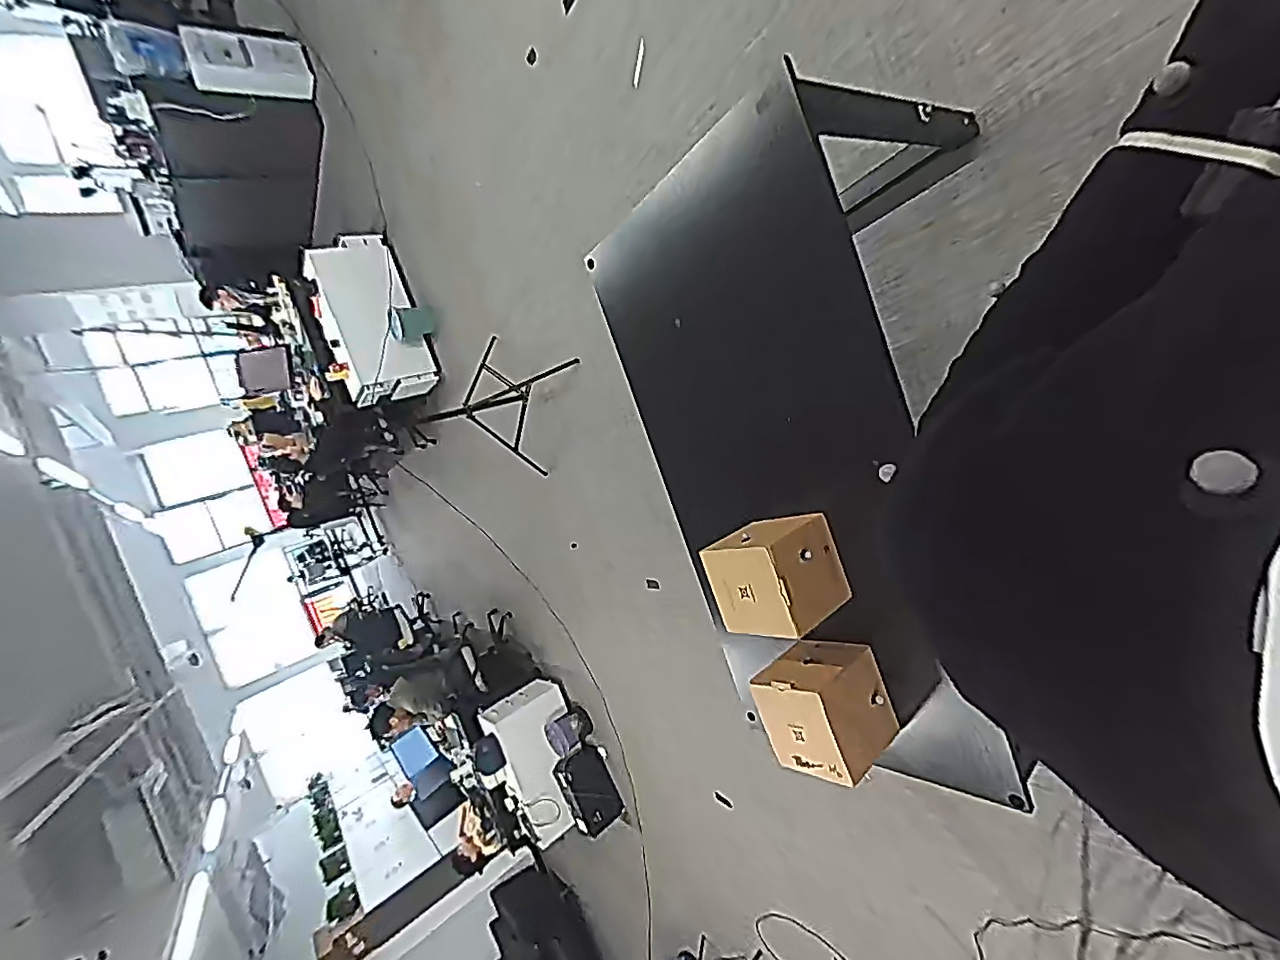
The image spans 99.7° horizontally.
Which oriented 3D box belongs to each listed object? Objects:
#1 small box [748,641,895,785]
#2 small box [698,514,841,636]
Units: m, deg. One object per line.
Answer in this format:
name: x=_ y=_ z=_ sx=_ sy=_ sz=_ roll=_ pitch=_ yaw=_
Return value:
small box: x=0.336 y=0.415 z=1.001 sx=0.168 sy=0.176 sz=0.179 roll=-19 pitch=92 yaw=55
small box: x=0.243 y=0.169 z=0.994 sx=0.179 sy=0.176 sz=0.168 roll=-16 pitch=94 yaw=55
